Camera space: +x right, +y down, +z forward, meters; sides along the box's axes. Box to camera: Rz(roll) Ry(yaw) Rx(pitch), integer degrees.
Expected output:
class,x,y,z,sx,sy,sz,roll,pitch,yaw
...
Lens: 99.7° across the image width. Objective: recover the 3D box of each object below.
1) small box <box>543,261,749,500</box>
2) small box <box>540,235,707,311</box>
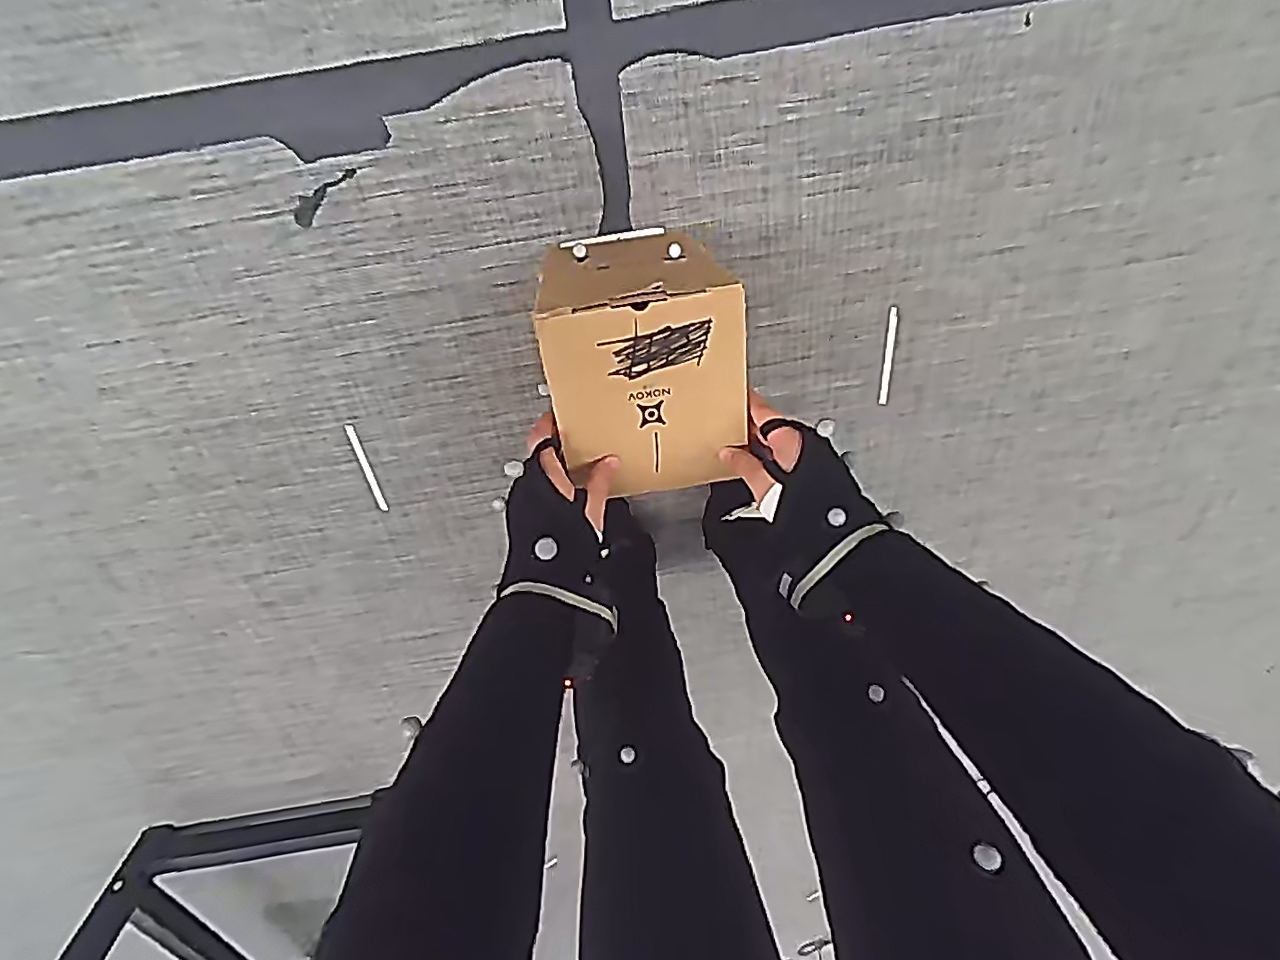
class,x,y,z,sx,sy,sz,roll,pitch,yaw
small box,0.003,-0.107,0.526,0.168,0.176,0.179,-8,122,-2
small box,-0.016,-0.196,0.663,0.179,0.176,0.168,-8,122,-2
